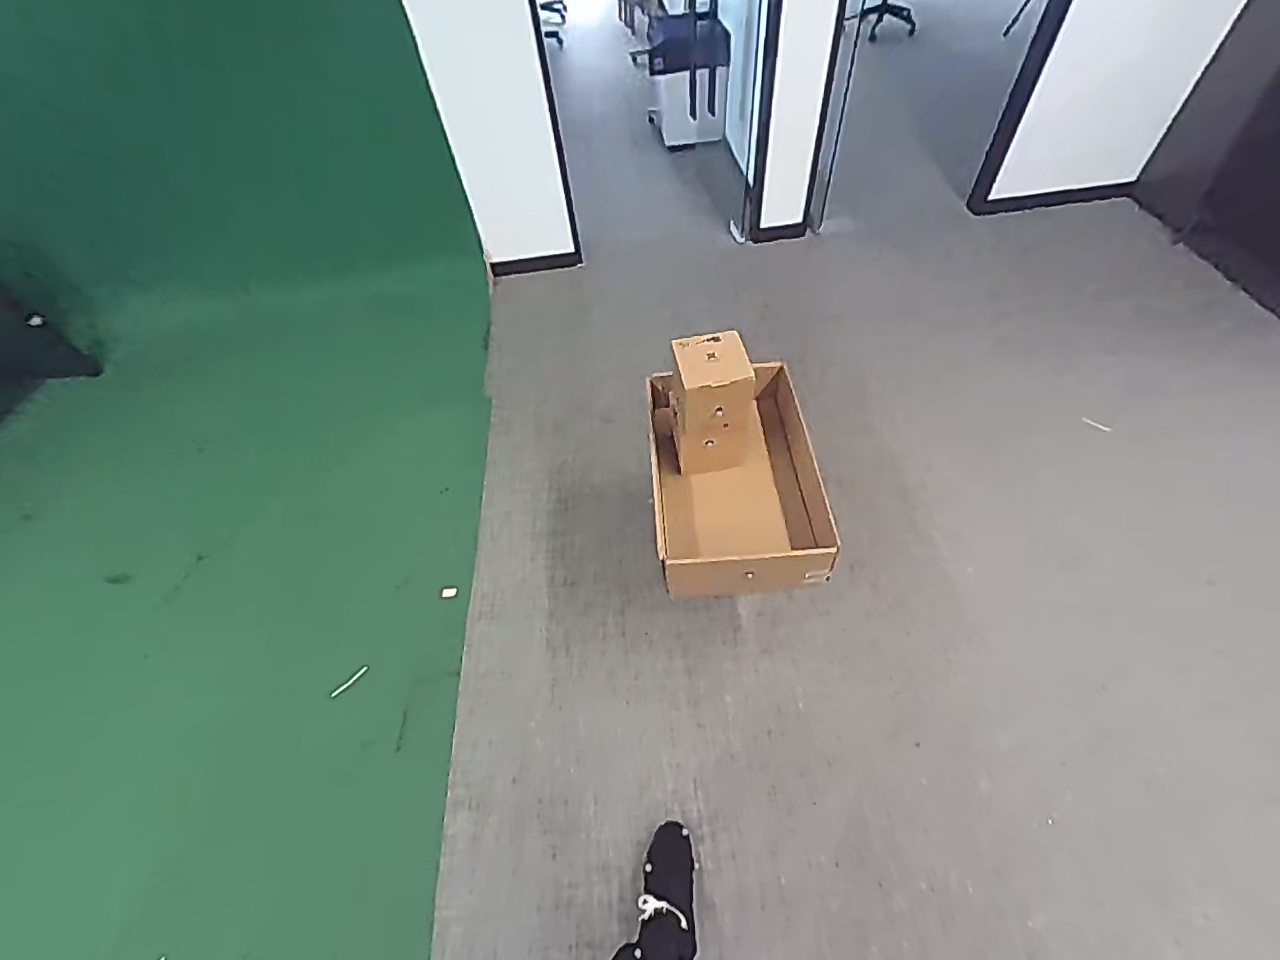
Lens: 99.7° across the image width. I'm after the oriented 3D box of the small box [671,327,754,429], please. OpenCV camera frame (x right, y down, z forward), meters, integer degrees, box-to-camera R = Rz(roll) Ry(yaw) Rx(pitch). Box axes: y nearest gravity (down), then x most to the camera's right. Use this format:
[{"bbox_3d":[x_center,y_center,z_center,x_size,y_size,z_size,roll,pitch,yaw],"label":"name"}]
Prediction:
[{"bbox_3d":[0.174,-0.241,1.322,0.168,0.176,0.179,-9,54,-1],"label":"small box"}]
